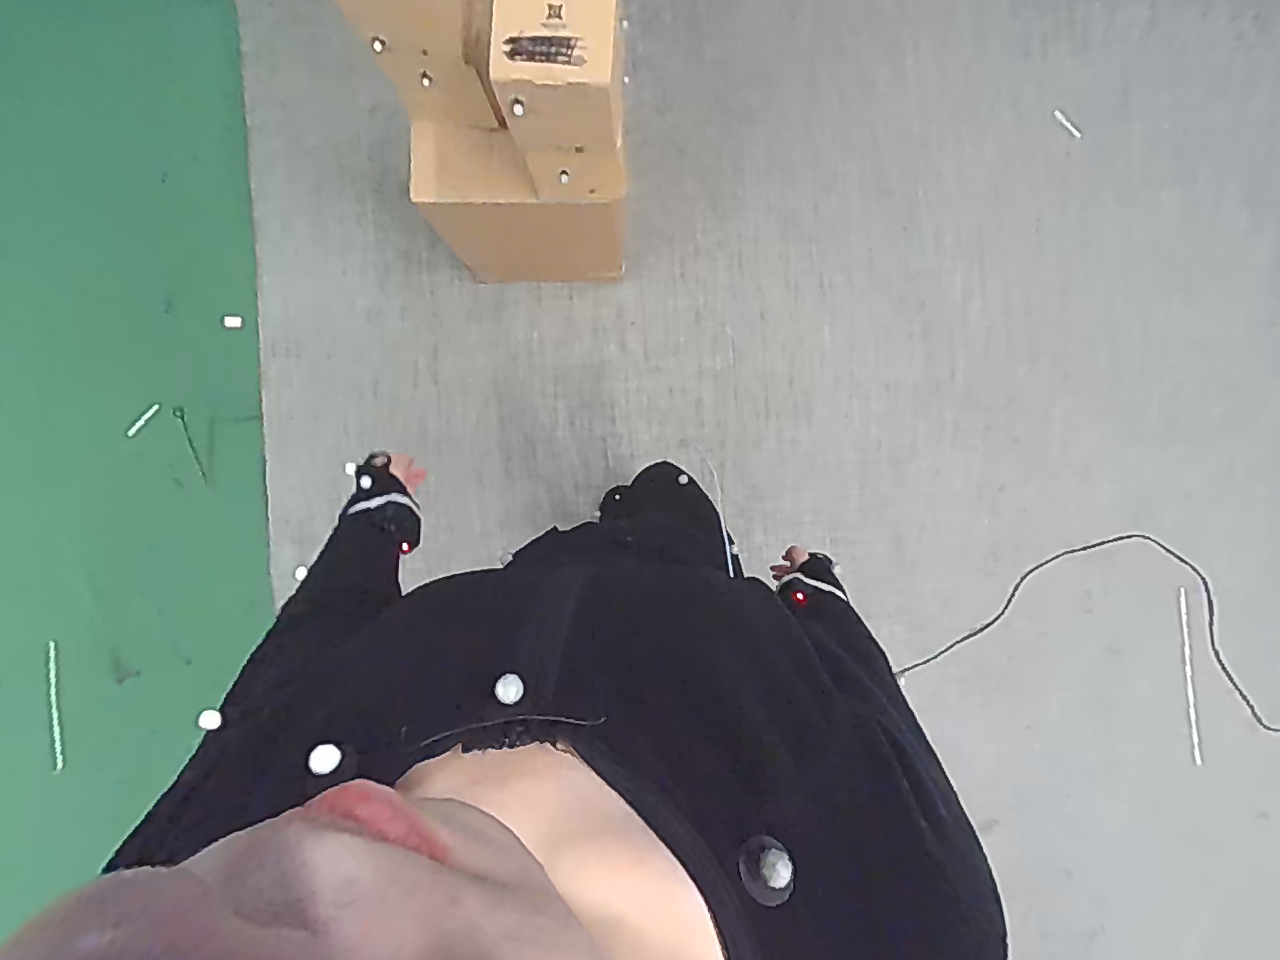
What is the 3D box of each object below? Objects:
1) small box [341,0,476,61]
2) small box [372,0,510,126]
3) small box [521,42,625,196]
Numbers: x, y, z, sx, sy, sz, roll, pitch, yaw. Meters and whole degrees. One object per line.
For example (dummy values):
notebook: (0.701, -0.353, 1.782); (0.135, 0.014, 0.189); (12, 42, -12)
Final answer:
small box: (-0.353, -0.778, 0.808); (0.168, 0.176, 0.179); (9, 89, 1)
small box: (-0.348, -0.775, 0.973); (0.179, 0.176, 0.168); (6, 90, 0)
small box: (-0.113, -0.631, 0.969); (0.168, 0.176, 0.179); (-2, 90, 0)
